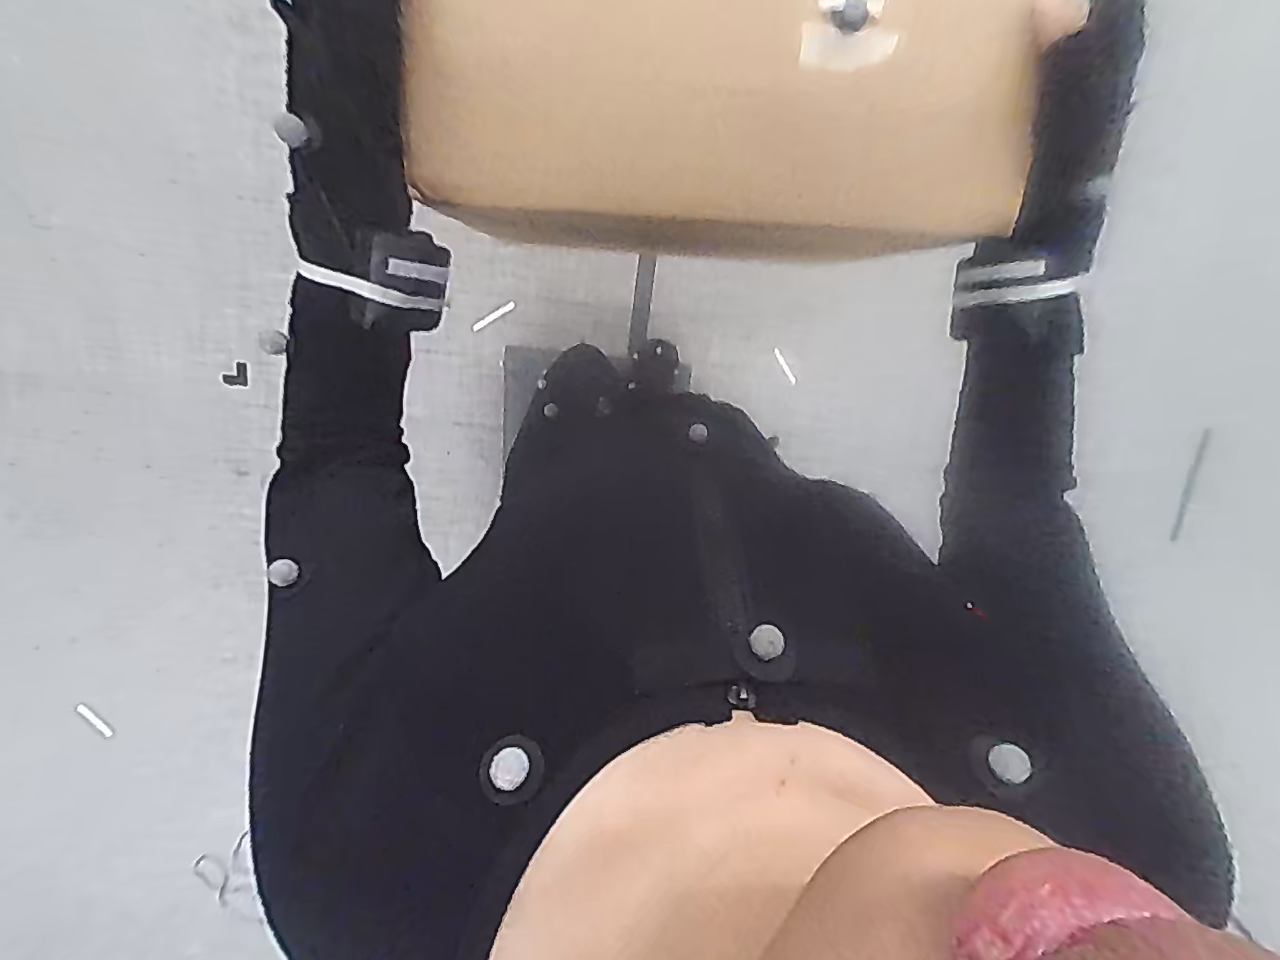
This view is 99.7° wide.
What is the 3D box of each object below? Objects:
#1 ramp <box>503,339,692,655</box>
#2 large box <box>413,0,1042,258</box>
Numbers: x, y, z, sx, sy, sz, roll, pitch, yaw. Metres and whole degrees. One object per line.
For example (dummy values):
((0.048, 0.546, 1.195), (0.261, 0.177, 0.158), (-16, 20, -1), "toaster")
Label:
((-0.154, 0.111, 1.602), (0.509, 0.206, 0.991), (4, 103, -5), "ramp")
((0.050, -0.376, 0.468), (0.408, 0.320, 0.320), (1, 108, -4), "large box")
